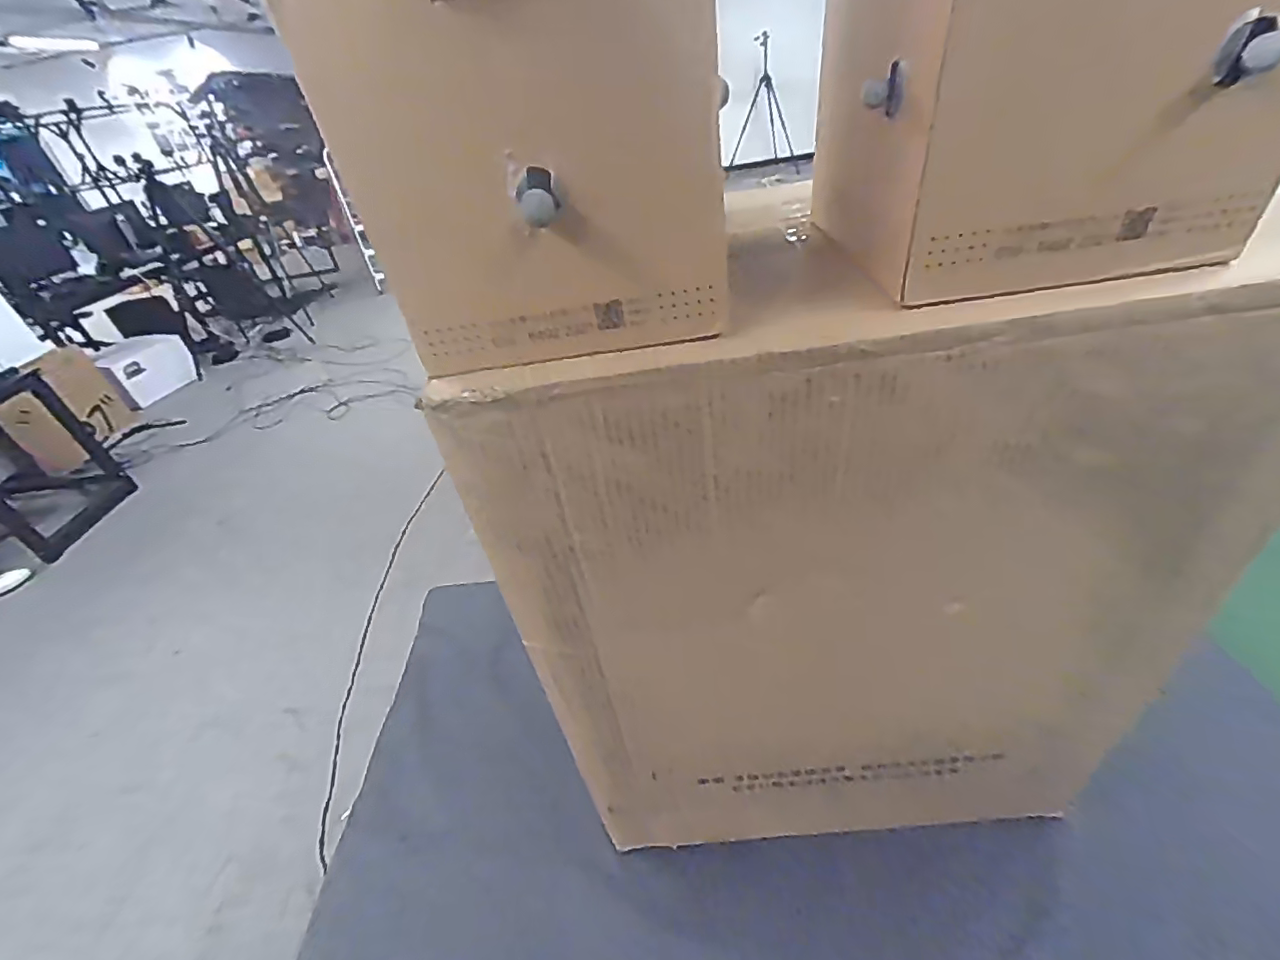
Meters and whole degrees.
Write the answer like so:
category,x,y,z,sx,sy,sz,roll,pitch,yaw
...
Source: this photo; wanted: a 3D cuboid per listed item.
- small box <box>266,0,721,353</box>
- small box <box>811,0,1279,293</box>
category,x,y,z,sx,sy,sz,roll,pitch,yaw
small box,-0.047,-0.182,0.305,0.168,0.176,0.179,-6,40,4
small box,0.199,-0.207,0.287,0.168,0.176,0.179,-5,38,3
